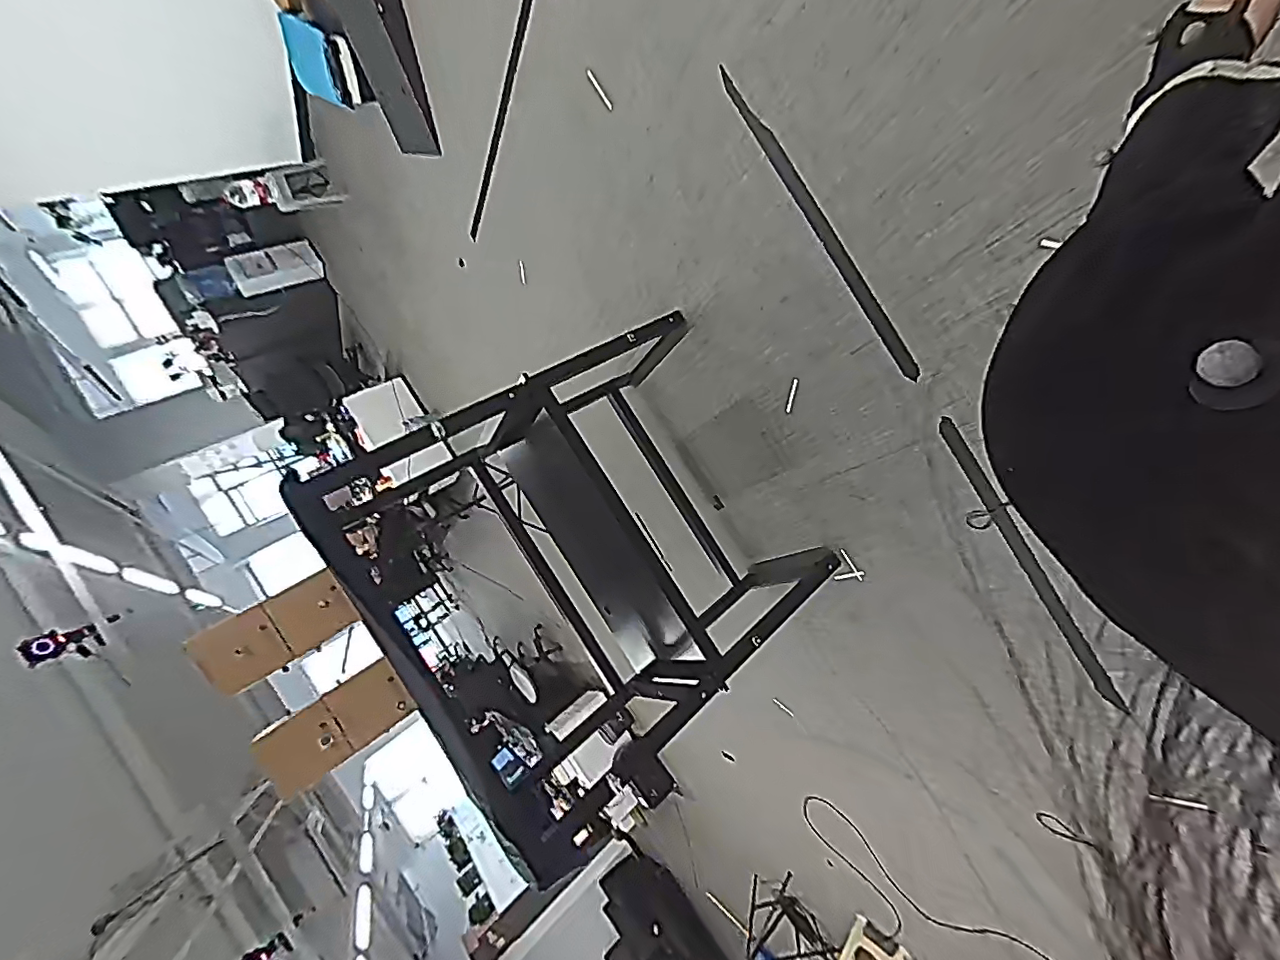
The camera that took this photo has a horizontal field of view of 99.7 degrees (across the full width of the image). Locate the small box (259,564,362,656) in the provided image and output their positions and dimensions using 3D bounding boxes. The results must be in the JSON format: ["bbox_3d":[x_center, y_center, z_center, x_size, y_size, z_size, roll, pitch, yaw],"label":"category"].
[{"bbox_3d":[-0.855,0.338,1.422,0.168,0.176,0.179,57,151,-2],"label":"small box"}]

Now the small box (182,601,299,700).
[{"bbox_3d":[-0.976,0.415,1.342,0.168,0.176,0.179,58,150,-2],"label":"small box"}]

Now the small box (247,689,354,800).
[{"bbox_3d":[-0.828,0.646,1.345,0.168,0.176,0.179,57,151,-1],"label":"small box"}]

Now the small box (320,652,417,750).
[{"bbox_3d":[-0.707,0.570,1.422,0.168,0.176,0.179,58,152,0],"label":"small box"}]
